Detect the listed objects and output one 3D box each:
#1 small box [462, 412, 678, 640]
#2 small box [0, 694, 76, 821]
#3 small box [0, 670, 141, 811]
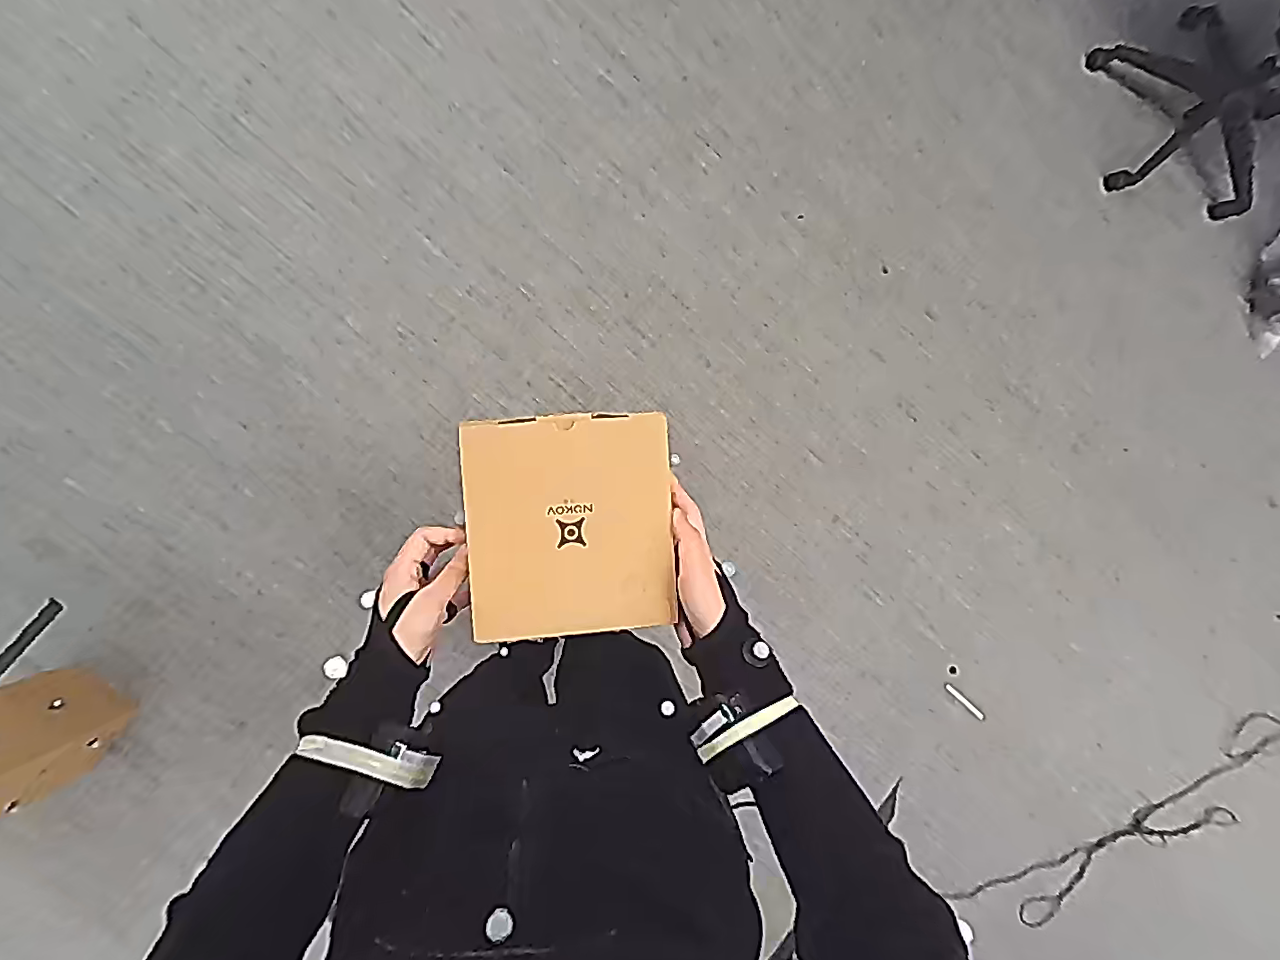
[{"bbox_3d":[-0.062,0.034,0.513,0.168,0.176,0.179,-5,91,-7],"label":"small box"},{"bbox_3d":[-1.167,0.504,0.936,0.179,0.176,0.168,37,83,-5],"label":"small box"},{"bbox_3d":[-1.194,0.514,1.099,0.179,0.176,0.168,36,83,-4],"label":"small box"}]
